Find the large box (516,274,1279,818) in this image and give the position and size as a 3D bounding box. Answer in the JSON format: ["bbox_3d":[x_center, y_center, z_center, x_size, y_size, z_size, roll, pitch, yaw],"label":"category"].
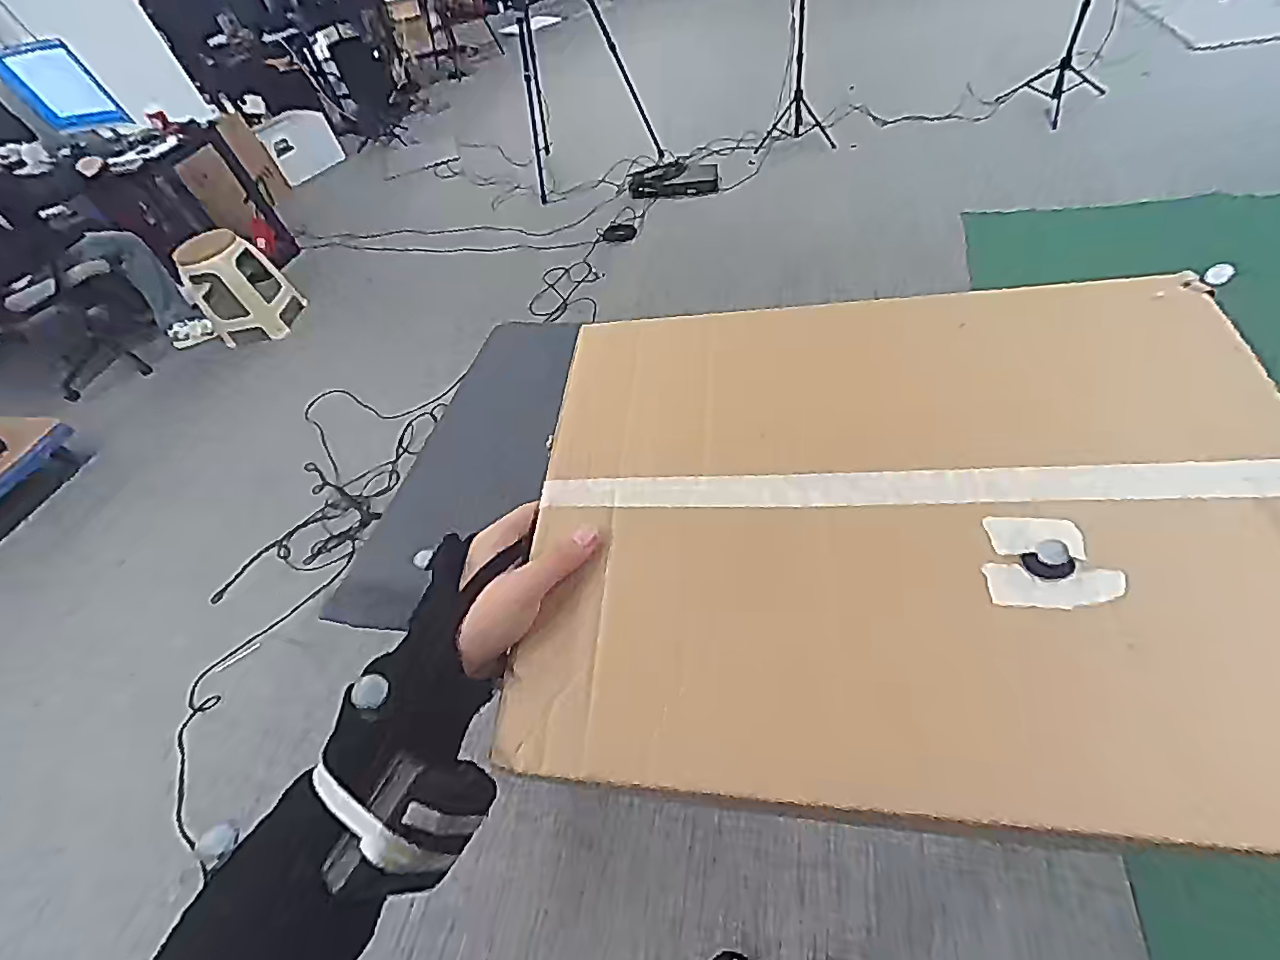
[{"bbox_3d":[0.165,0.076,0.442,0.408,0.320,0.320,-1,58,12],"label":"large box"}]
